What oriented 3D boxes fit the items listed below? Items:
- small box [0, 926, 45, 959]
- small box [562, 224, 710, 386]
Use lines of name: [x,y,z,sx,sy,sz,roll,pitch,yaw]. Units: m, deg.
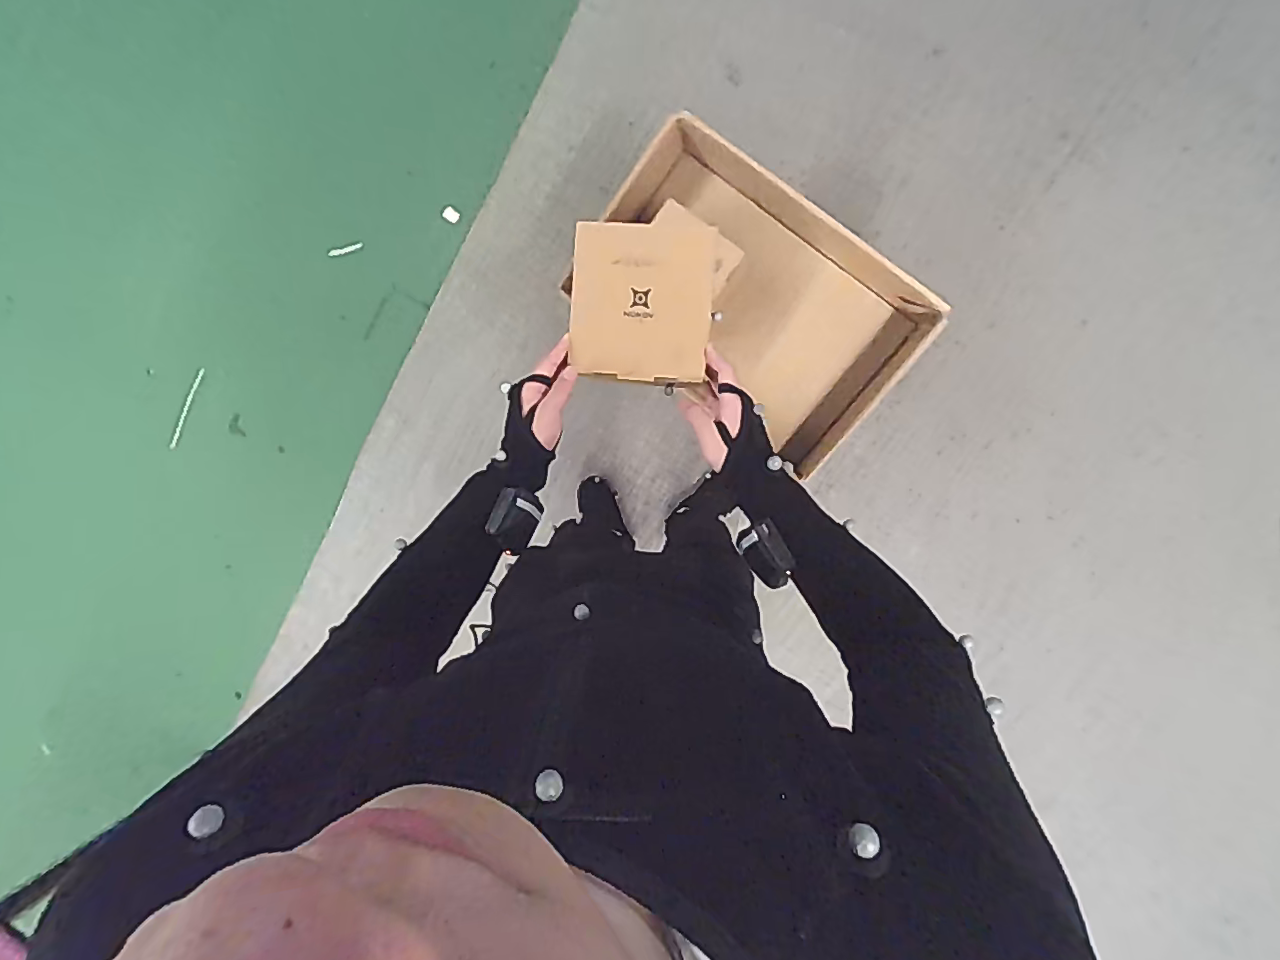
small box: [-1.590,1.239,1.290,0.168,0.176,0.179,33,102,4]
small box: [0.002,-0.218,0.714,0.168,0.176,0.179,5,98,7]
